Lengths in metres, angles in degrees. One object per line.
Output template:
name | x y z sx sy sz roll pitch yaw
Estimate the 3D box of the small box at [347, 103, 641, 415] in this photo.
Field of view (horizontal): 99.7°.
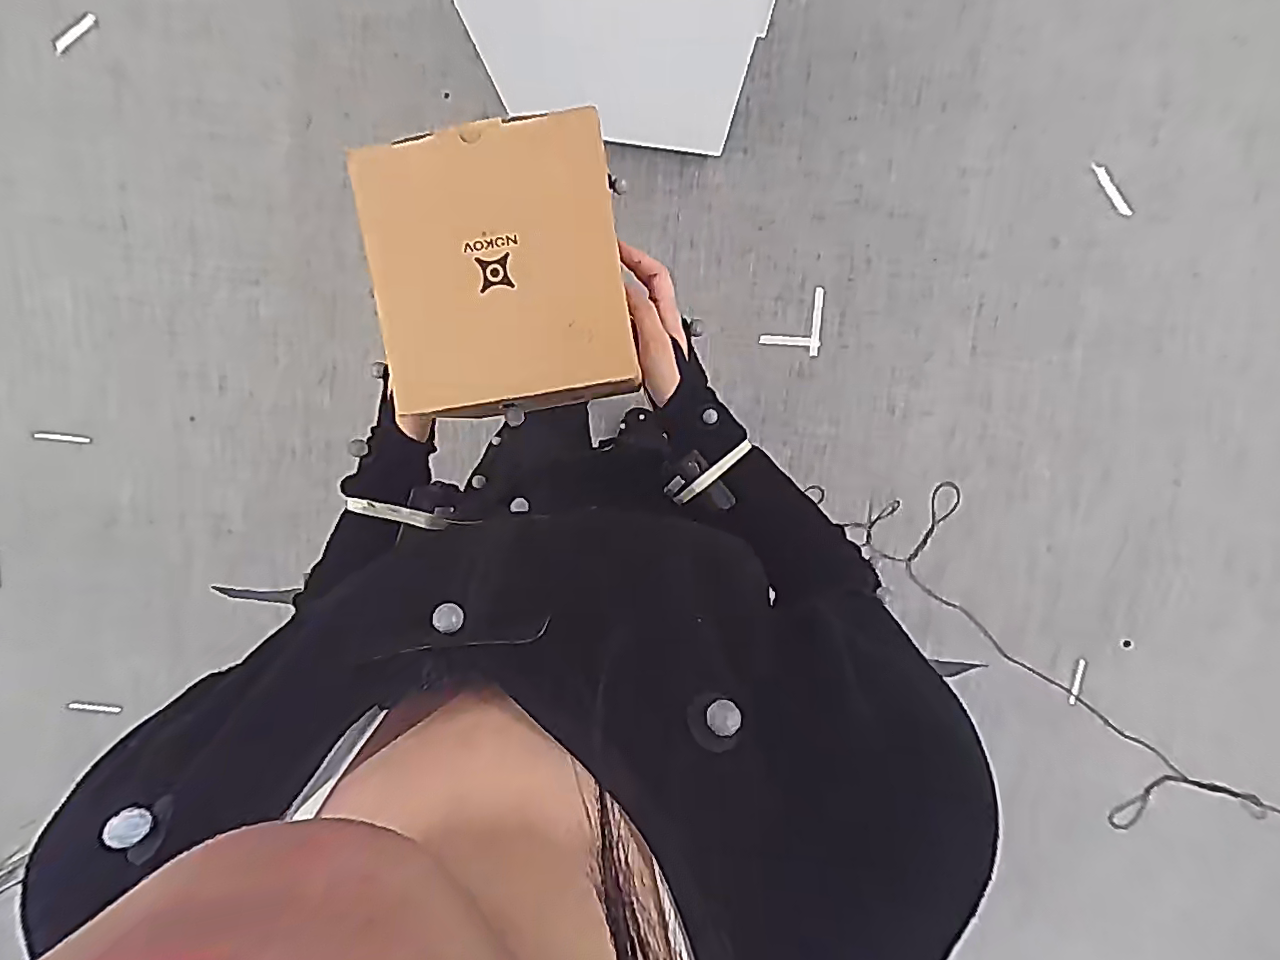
small box | -0.093 -0.149 0.432 0.168 0.176 0.179 -10 94 2
